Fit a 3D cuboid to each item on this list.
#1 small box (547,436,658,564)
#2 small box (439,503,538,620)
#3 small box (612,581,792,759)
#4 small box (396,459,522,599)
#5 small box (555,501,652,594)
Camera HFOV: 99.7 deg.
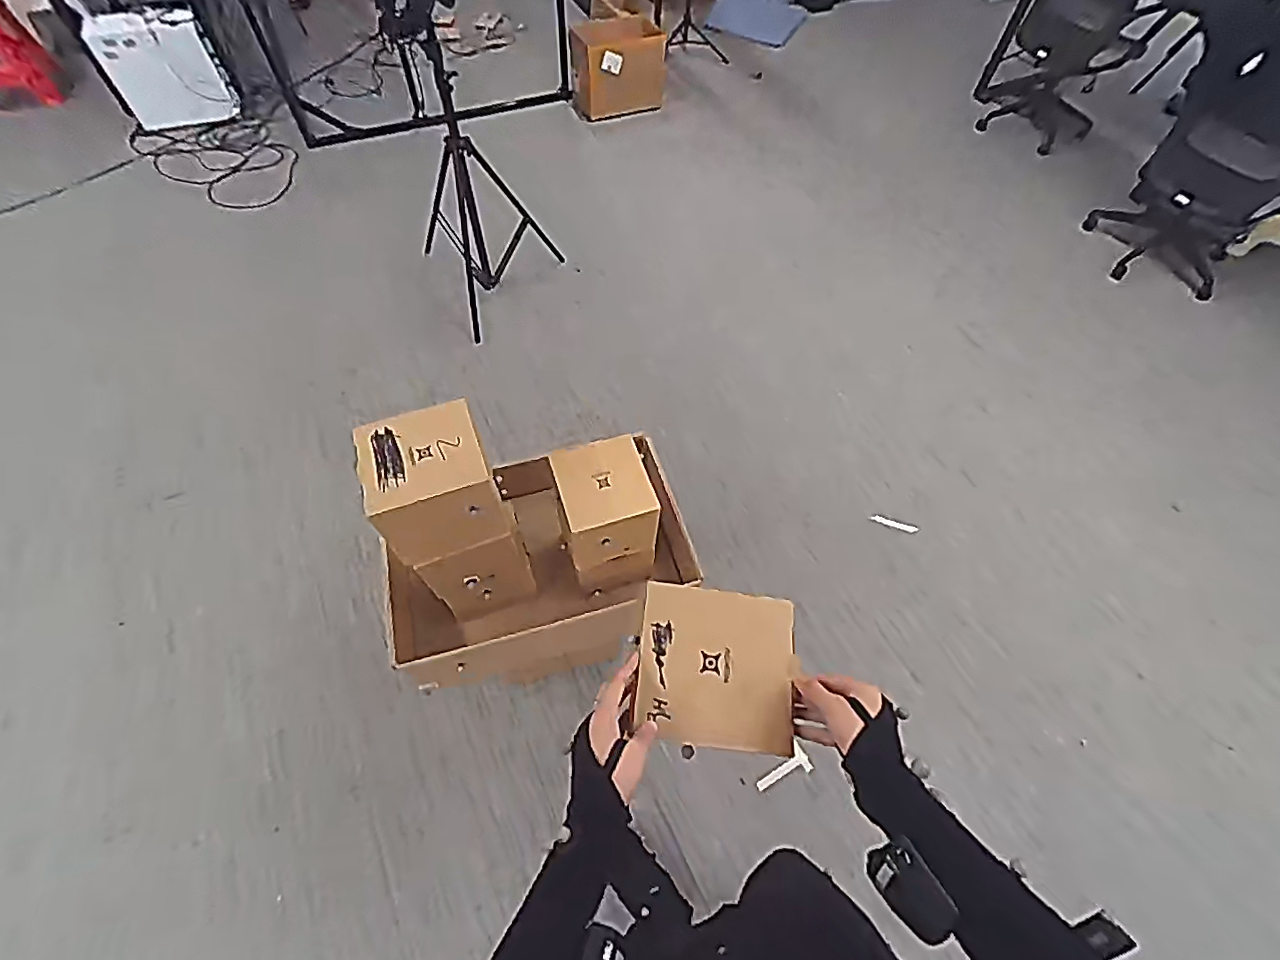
[{"bbox_3d":[-0.072,0.048,1.048,0.168,0.176,0.179,-16,60,-12],"label":"small box"},{"bbox_3d":[-0.328,0.178,1.146,0.179,0.176,0.168,-16,61,-13],"label":"small box"},{"bbox_3d":[0.069,0.233,0.661,0.179,0.176,0.168,10,65,-5],"label":"small box"},{"bbox_3d":[-0.330,0.094,1.005,0.168,0.176,0.179,-20,61,-12],"label":"small box"},{"bbox_3d":[-0.079,0.134,1.186,0.168,0.176,0.179,-16,60,-12],"label":"small box"}]
